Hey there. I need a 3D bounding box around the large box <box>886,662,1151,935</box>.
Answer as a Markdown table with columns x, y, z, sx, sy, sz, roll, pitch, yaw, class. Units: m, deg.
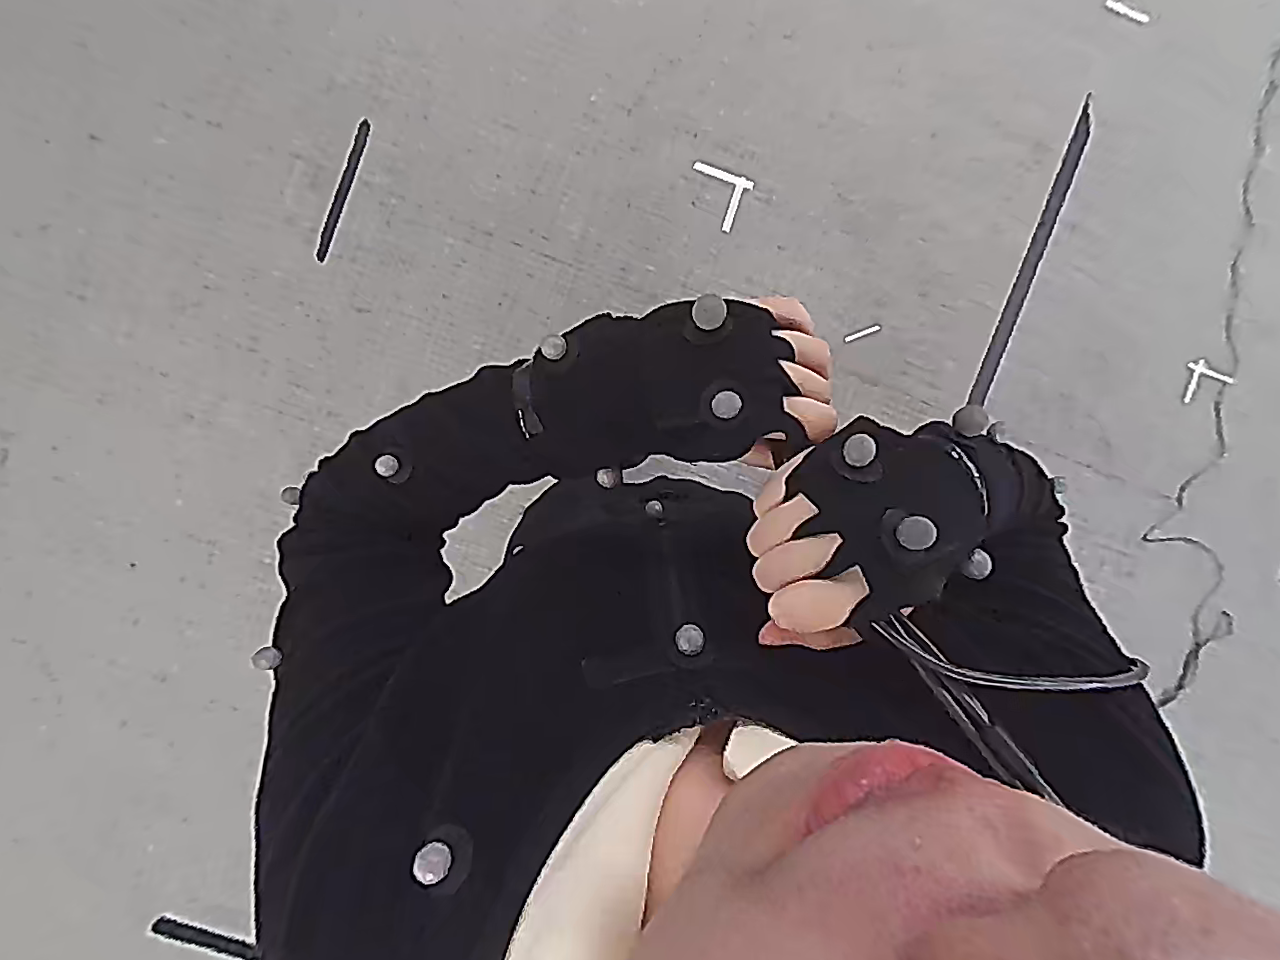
| x | y | z | sx | sy | sz | roll | pitch | yaw | class |
| --- | --- | --- | --- | --- | --- | --- | --- | --- | --- |
| 0.835 | 0.695 | 1.243 | 0.320 | 0.320 | 0.408 | 18 | 91 | -3 | large box |
